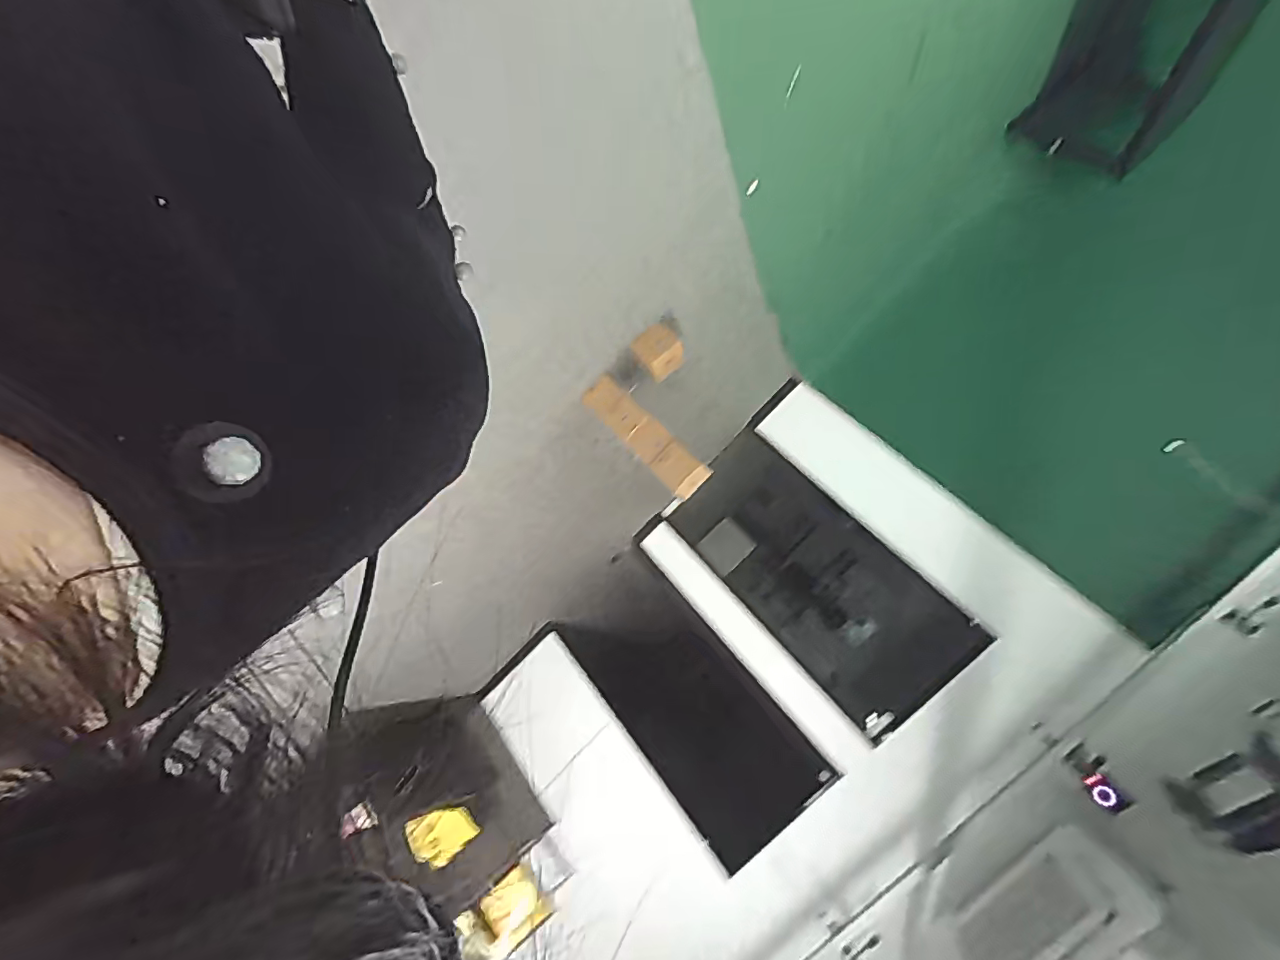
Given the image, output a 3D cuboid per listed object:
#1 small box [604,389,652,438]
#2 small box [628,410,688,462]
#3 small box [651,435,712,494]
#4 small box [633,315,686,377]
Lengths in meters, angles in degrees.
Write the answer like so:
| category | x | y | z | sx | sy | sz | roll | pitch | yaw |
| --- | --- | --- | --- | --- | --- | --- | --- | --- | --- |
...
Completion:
| category | x | y | z | sx | sy | sz | roll | pitch | yaw |
| --- | --- | --- | --- | --- | --- | --- | --- | --- | --- |
| small box | -0.032 | -0.284 | 2.445 | 0.168 | 0.176 | 0.179 | -45 | 155 | 7 |
| small box | 0.078 | -0.179 | 2.381 | 0.179 | 0.176 | 0.168 | -45 | 156 | 6 |
| small box | 0.178 | -0.067 | 2.312 | 0.168 | 0.176 | 0.179 | -47 | 155 | 7 |
| small box | 0.085 | -0.616 | 2.482 | 0.179 | 0.176 | 0.168 | -41 | 155 | -6 |
